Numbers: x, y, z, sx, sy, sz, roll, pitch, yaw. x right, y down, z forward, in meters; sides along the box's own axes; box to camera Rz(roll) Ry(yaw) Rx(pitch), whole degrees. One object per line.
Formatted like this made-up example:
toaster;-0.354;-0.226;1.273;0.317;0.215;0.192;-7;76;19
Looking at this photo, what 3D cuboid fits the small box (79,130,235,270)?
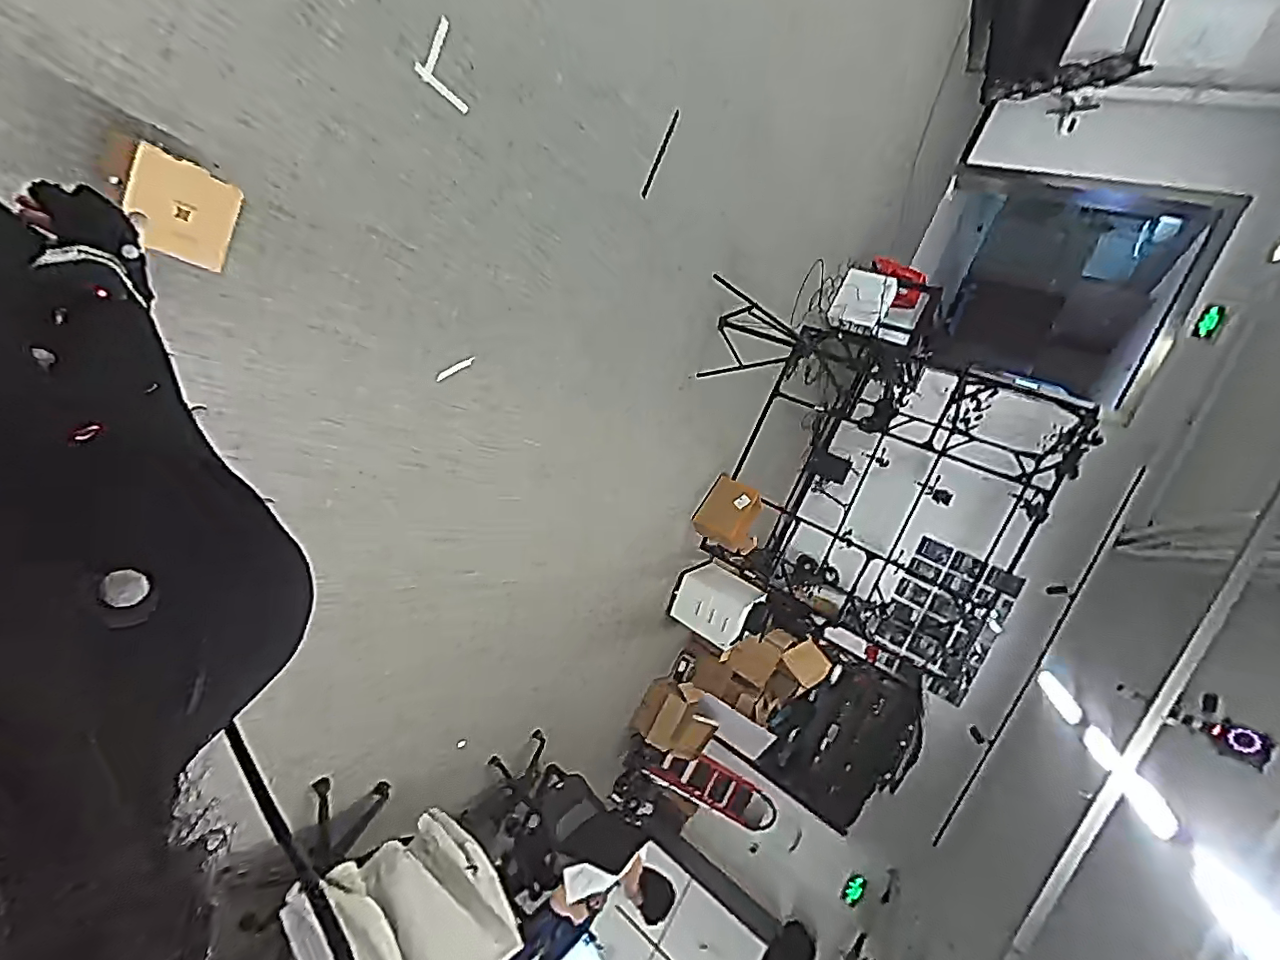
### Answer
small box;-0.934;-0.541;1.045;0.168;0.176;0.179;11;105;-60
